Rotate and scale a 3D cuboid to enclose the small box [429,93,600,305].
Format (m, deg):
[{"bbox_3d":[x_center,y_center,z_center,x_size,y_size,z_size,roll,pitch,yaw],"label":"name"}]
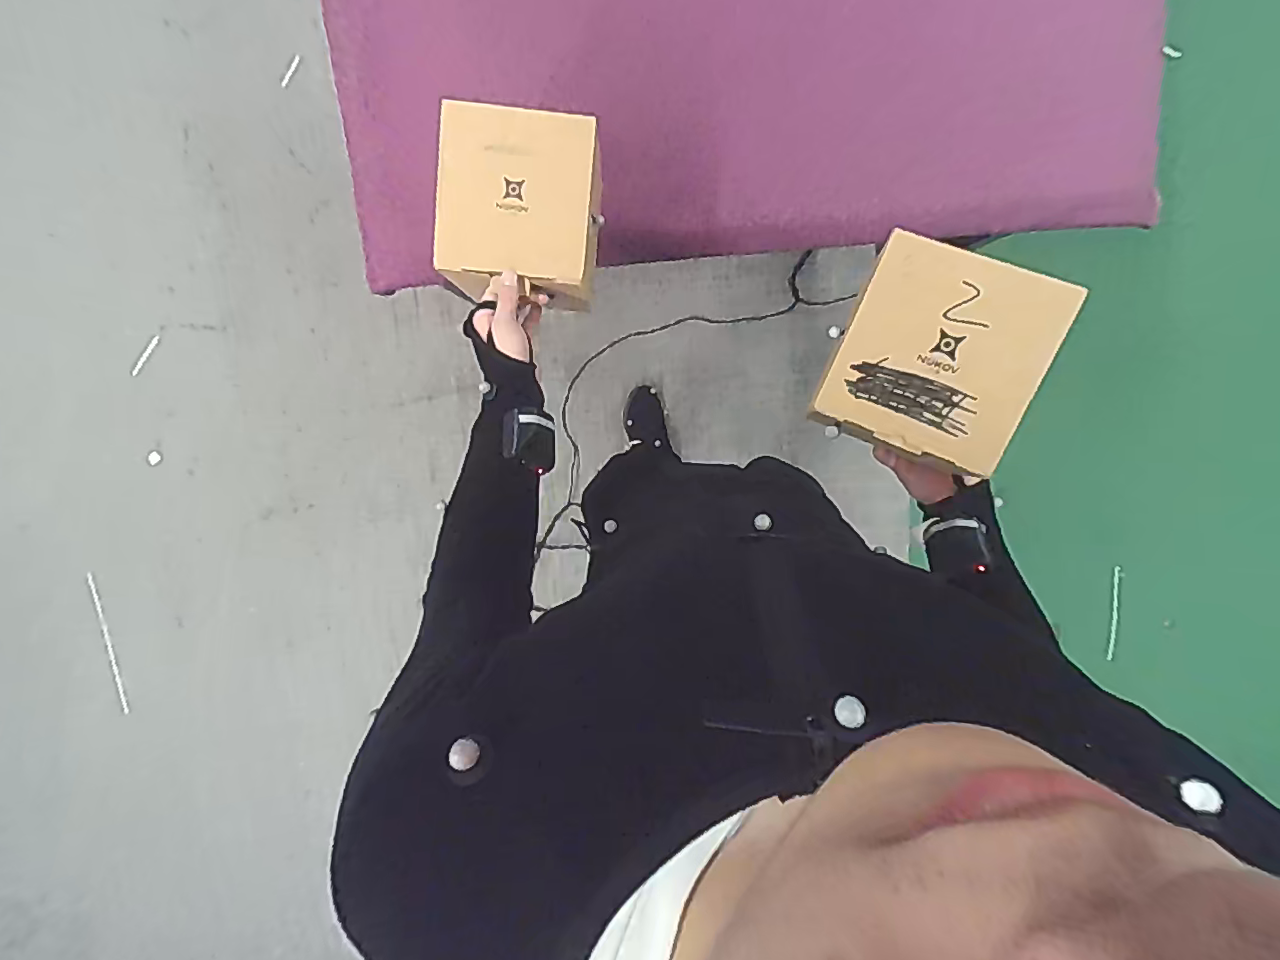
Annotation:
[{"bbox_3d":[-0.141,-0.323,0.660,0.168,0.176,0.179,6,96,-2],"label":"small box"}]
